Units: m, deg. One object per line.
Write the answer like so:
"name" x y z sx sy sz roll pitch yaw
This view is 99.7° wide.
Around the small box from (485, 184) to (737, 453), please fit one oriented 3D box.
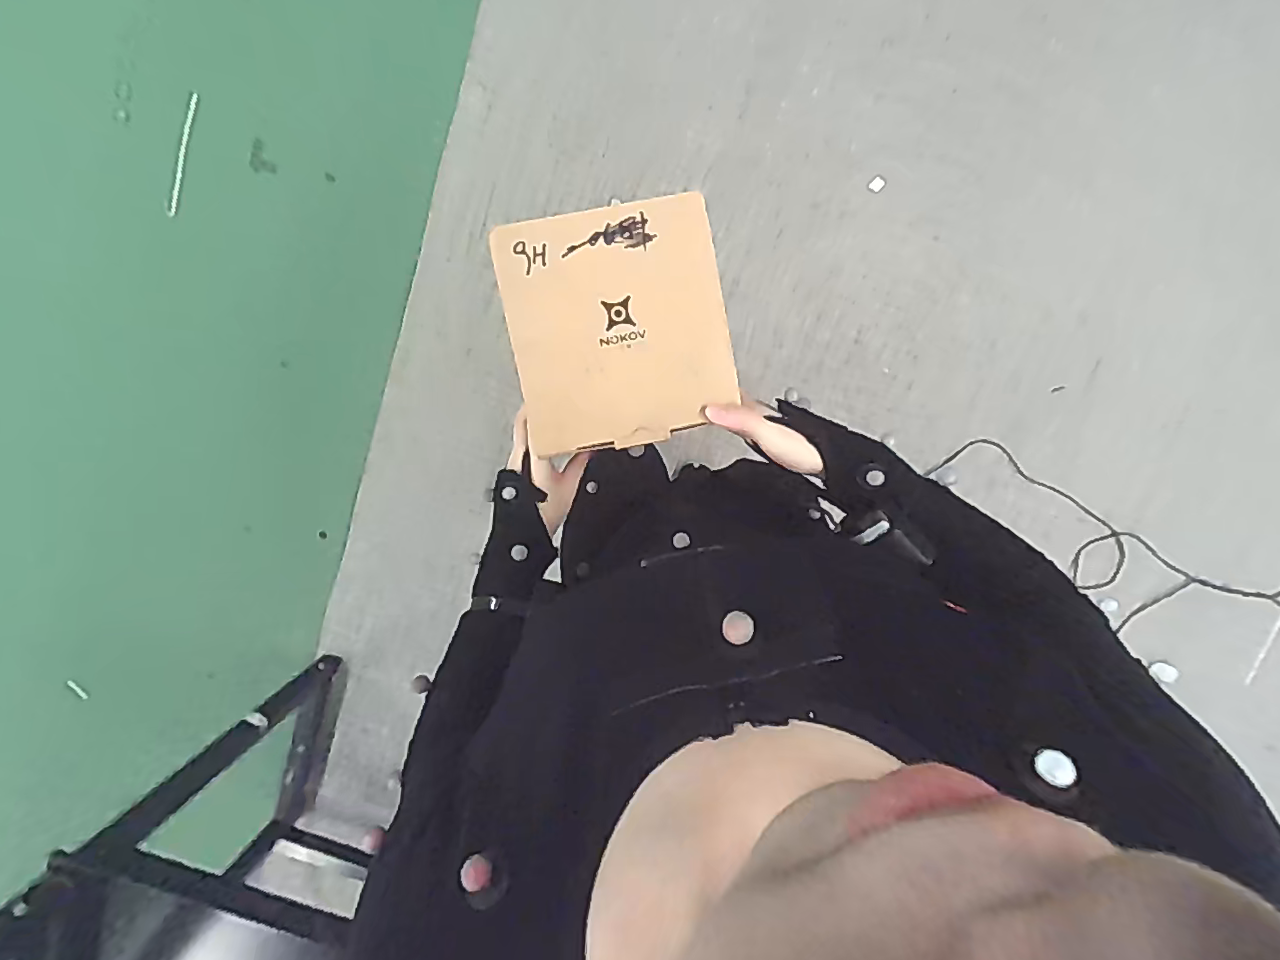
"small box" -0.023 -0.128 0.483 0.168 0.176 0.179 -11 96 -3
